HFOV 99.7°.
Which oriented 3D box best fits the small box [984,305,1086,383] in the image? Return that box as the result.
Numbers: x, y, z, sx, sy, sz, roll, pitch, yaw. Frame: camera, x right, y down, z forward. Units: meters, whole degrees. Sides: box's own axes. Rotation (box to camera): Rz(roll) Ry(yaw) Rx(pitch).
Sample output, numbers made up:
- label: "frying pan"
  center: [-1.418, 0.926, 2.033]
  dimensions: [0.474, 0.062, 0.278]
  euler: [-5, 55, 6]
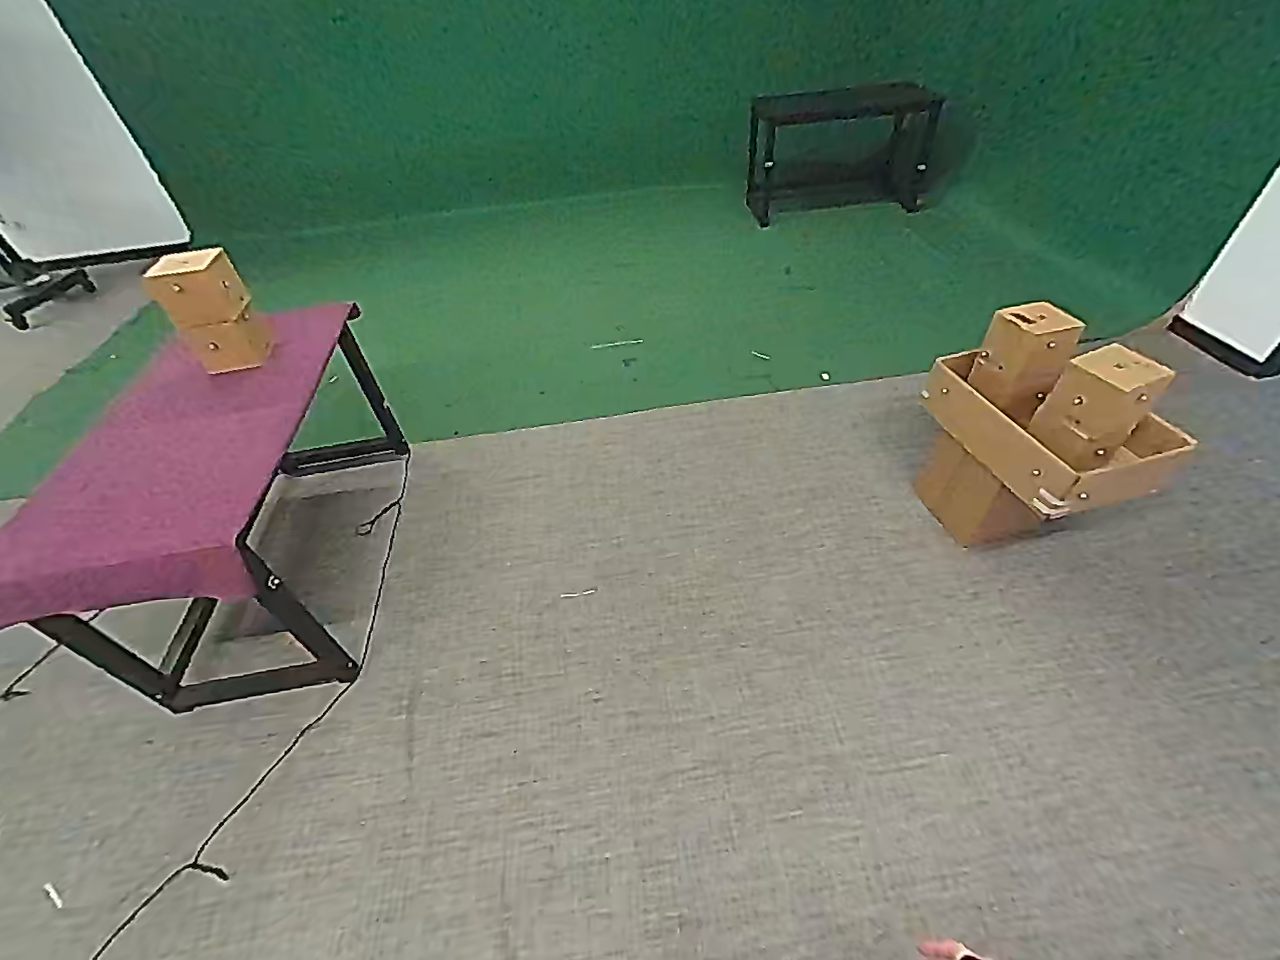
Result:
- label: "small box"
  center: [1.217, -0.421, 1.689]
  dimensions: [0.179, 0.176, 0.168]
  euler: [-11, 44, -7]

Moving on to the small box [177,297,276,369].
- label: "small box"
  center: [-1.354, -0.485, 1.782]
  dimensions: [0.179, 0.176, 0.168]
  euler: [-12, 46, -6]

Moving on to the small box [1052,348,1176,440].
- label: "small box"
  center: [1.287, -0.234, 1.490]
  dimensions: [0.179, 0.176, 0.168]
  euler: [-18, 46, -11]

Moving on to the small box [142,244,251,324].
- label: "small box"
  center: [-1.354, -0.603, 1.668]
  dimensions: [0.179, 0.176, 0.168]
  euler: [-10, 46, -5]
